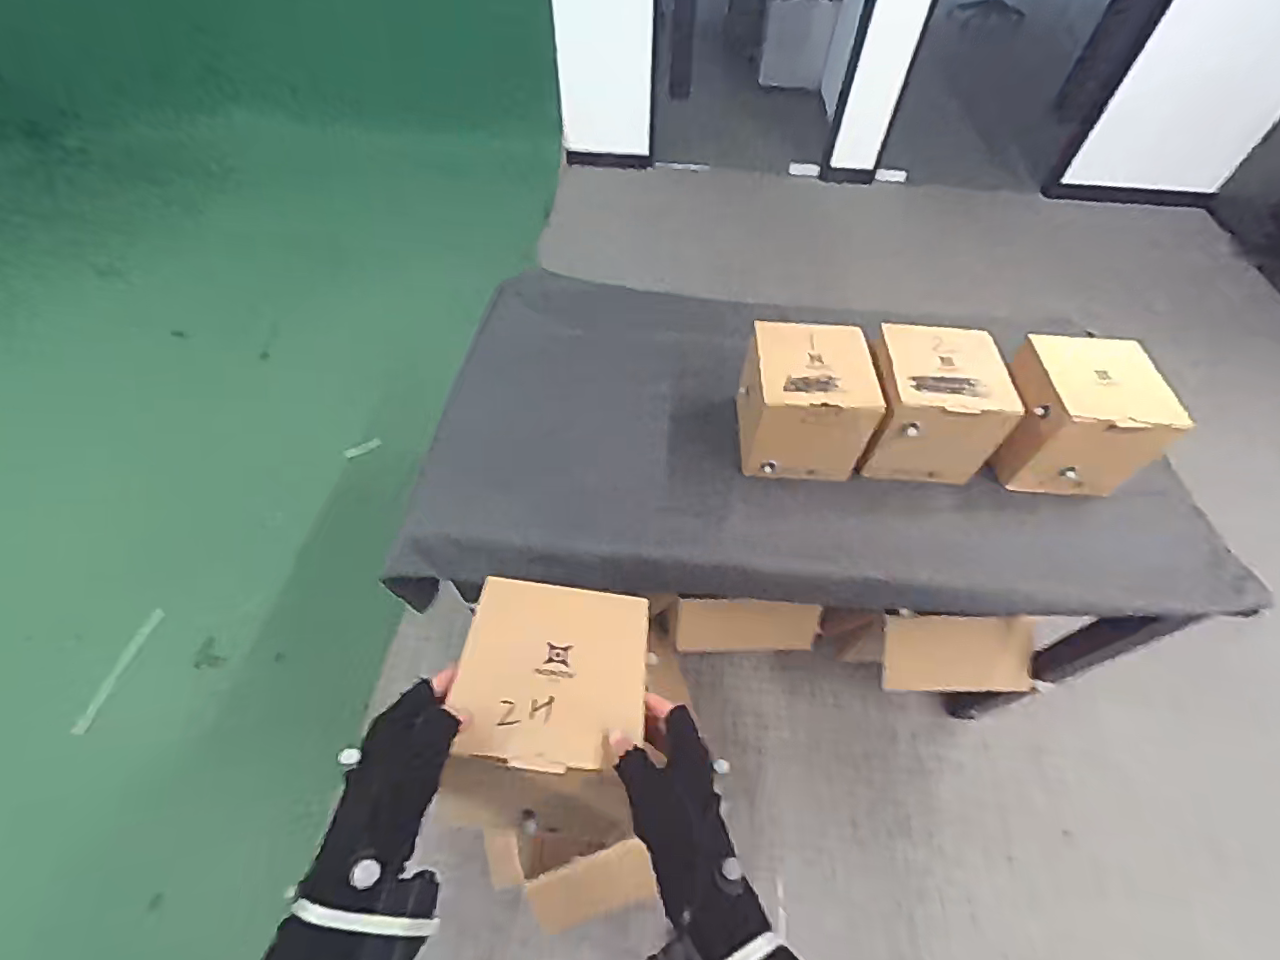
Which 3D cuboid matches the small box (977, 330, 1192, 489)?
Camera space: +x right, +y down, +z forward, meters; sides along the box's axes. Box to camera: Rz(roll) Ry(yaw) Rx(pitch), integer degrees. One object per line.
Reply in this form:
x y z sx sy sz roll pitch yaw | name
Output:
0.663 -0.108 0.839 0.168 0.176 0.179 3 55 2 | small box

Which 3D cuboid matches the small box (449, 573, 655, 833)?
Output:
-0.081 0.222 0.544 0.168 0.176 0.179 8 40 -4 | small box

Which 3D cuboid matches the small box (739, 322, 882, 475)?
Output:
0.252 -0.123 0.844 0.168 0.176 0.179 3 54 1 | small box
